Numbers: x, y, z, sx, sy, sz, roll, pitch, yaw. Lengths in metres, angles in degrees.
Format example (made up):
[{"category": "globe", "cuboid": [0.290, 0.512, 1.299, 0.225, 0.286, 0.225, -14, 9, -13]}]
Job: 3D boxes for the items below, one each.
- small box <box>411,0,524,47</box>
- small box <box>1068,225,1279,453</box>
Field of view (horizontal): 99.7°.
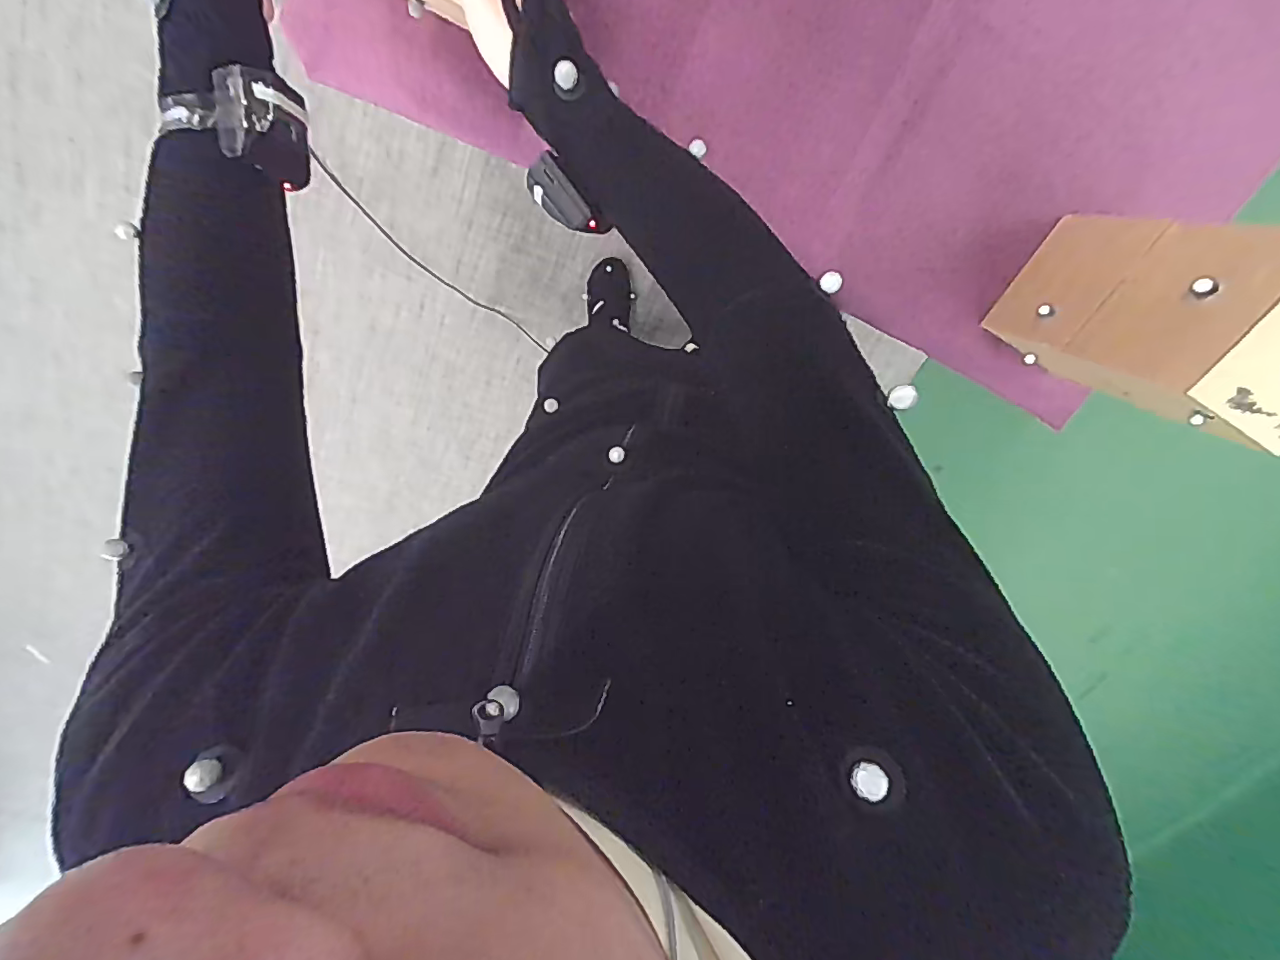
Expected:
[{"category": "small box", "cuboid": [-0.183, -0.558, 0.505, 0.168, 0.176, 0.179, 20, 114, -14]}, {"category": "small box", "cuboid": [0.648, -0.165, 0.604, 0.168, 0.176, 0.179, 24, 112, -15]}]
